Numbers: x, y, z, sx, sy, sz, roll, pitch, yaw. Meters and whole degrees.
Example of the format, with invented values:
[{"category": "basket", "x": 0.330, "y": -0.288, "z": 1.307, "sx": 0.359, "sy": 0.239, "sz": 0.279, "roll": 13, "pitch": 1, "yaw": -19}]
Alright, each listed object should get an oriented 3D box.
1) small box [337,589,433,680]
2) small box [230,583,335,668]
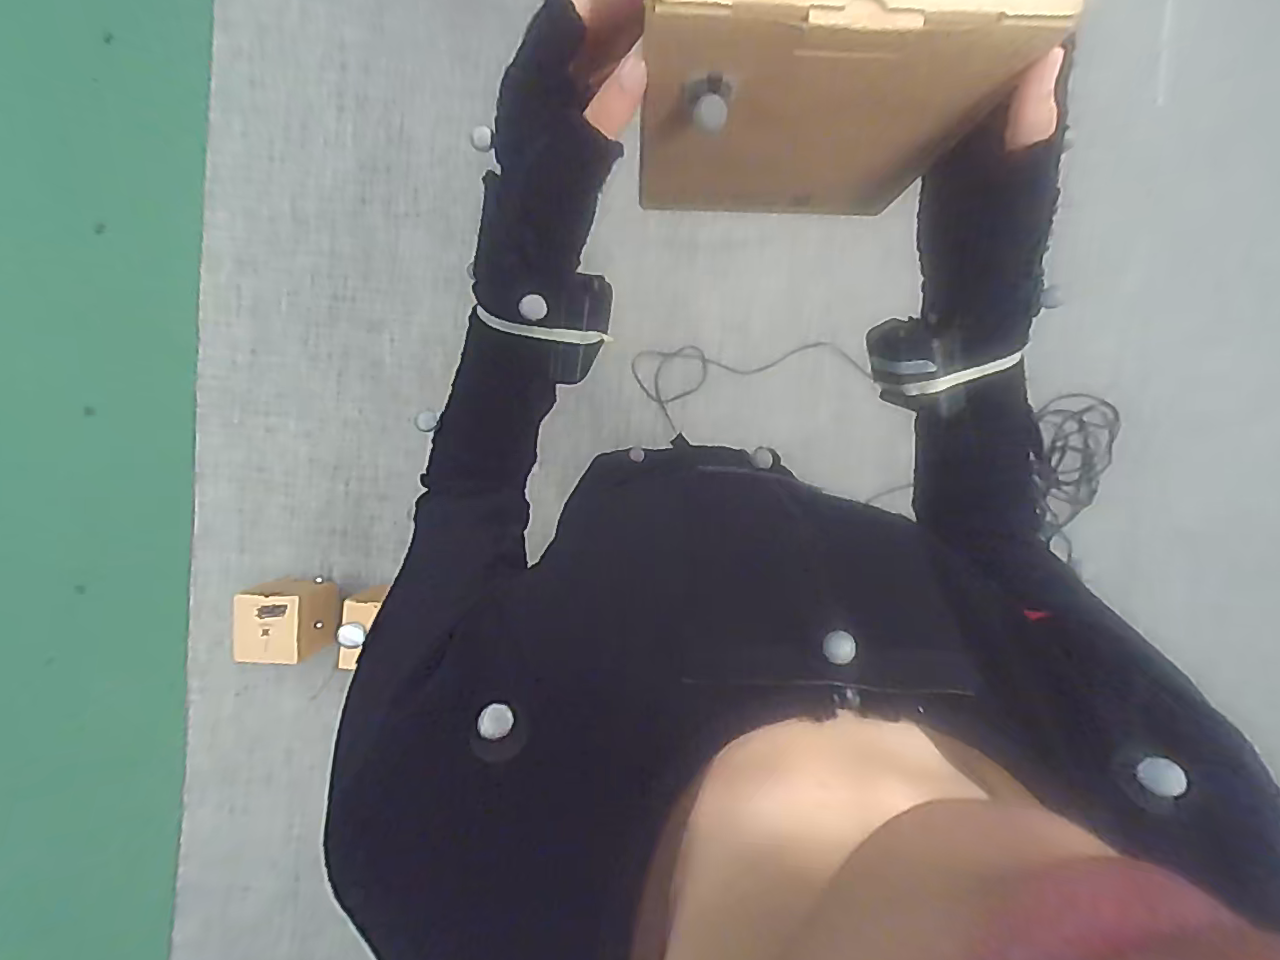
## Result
[{"category": "small box", "x": -0.658, "y": 0.397, "z": 1.413, "sx": 0.168, "sy": 0.176, "sz": 0.179, "roll": 6, "pitch": 91, "yaw": 1}, {"category": "small box", "x": -0.926, "y": 0.374, "z": 1.415, "sx": 0.168, "sy": 0.176, "sz": 0.179, "roll": 3, "pitch": 92, "yaw": 1}]
